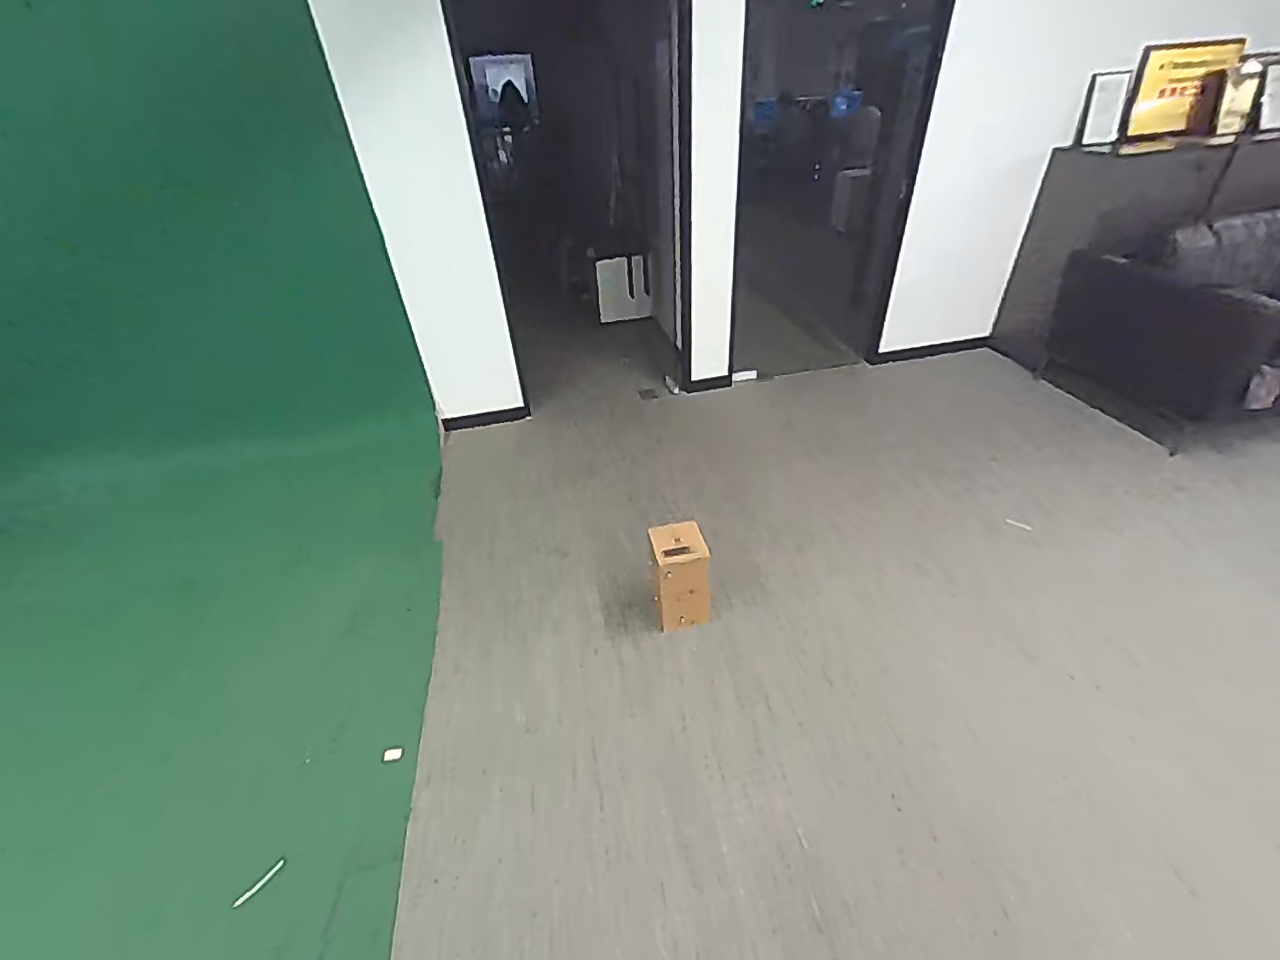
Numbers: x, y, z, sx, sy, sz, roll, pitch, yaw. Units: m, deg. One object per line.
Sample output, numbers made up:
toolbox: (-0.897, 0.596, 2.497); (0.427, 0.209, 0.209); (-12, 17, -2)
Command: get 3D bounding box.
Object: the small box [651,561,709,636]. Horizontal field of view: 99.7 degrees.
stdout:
small box: (0.134, 0.411, 1.878); (0.168, 0.176, 0.179); (-9, 37, -8)
